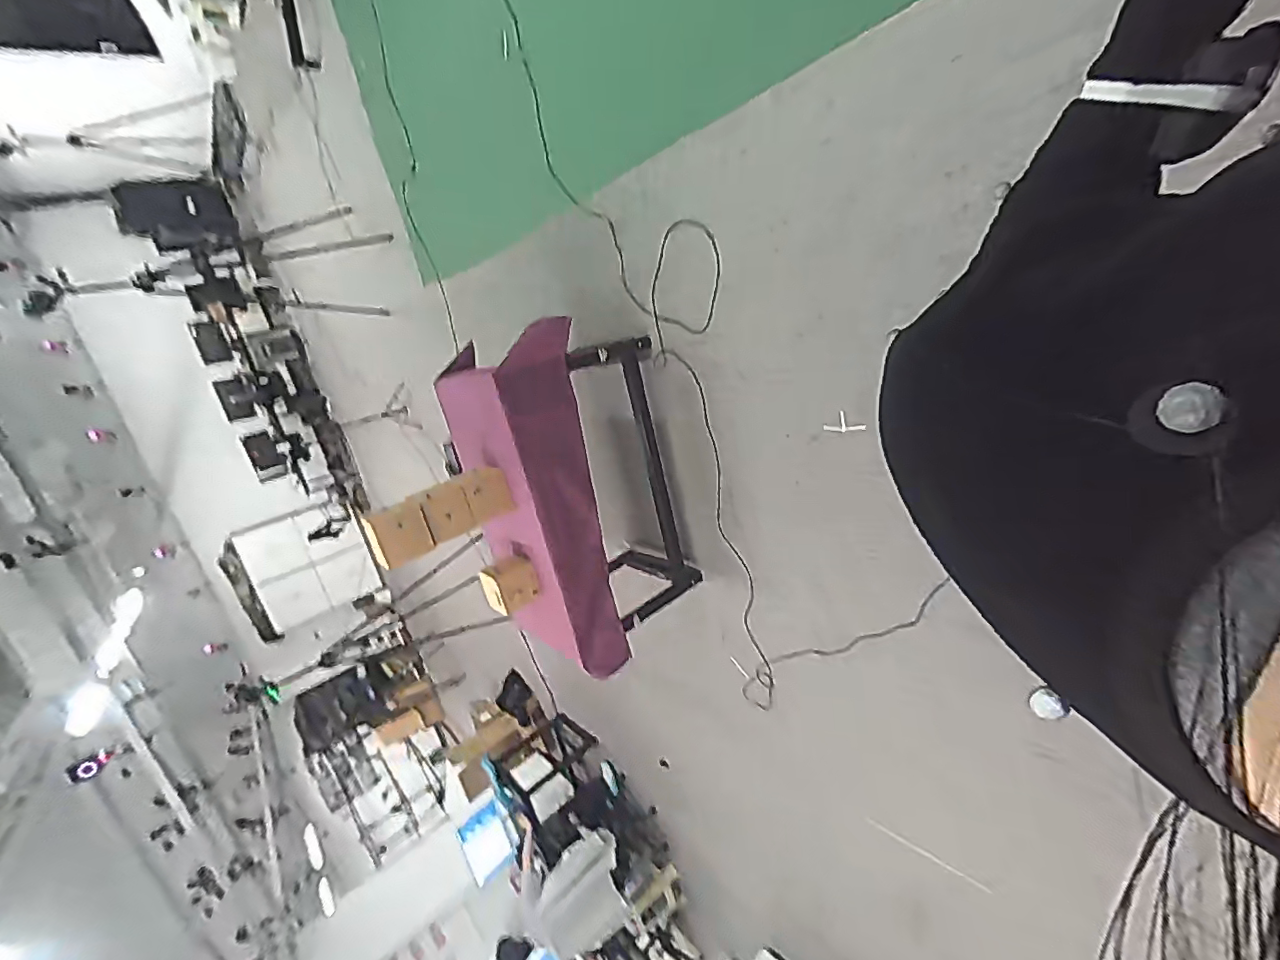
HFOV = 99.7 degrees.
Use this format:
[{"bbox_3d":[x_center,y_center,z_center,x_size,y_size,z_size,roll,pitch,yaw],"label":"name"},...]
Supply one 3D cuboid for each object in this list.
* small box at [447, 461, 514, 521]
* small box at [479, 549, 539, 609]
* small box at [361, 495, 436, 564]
[{"bbox_3d":[-0.617,0.036,2.098,0.168,0.176,0.179,11,119,50],"label":"small box"},{"bbox_3d":[-0.530,0.400,2.218,0.179,0.176,0.168,10,118,51],"label":"small box"},{"bbox_3d":[-0.850,0.167,1.908,0.168,0.176,0.179,11,120,50],"label":"small box"}]
